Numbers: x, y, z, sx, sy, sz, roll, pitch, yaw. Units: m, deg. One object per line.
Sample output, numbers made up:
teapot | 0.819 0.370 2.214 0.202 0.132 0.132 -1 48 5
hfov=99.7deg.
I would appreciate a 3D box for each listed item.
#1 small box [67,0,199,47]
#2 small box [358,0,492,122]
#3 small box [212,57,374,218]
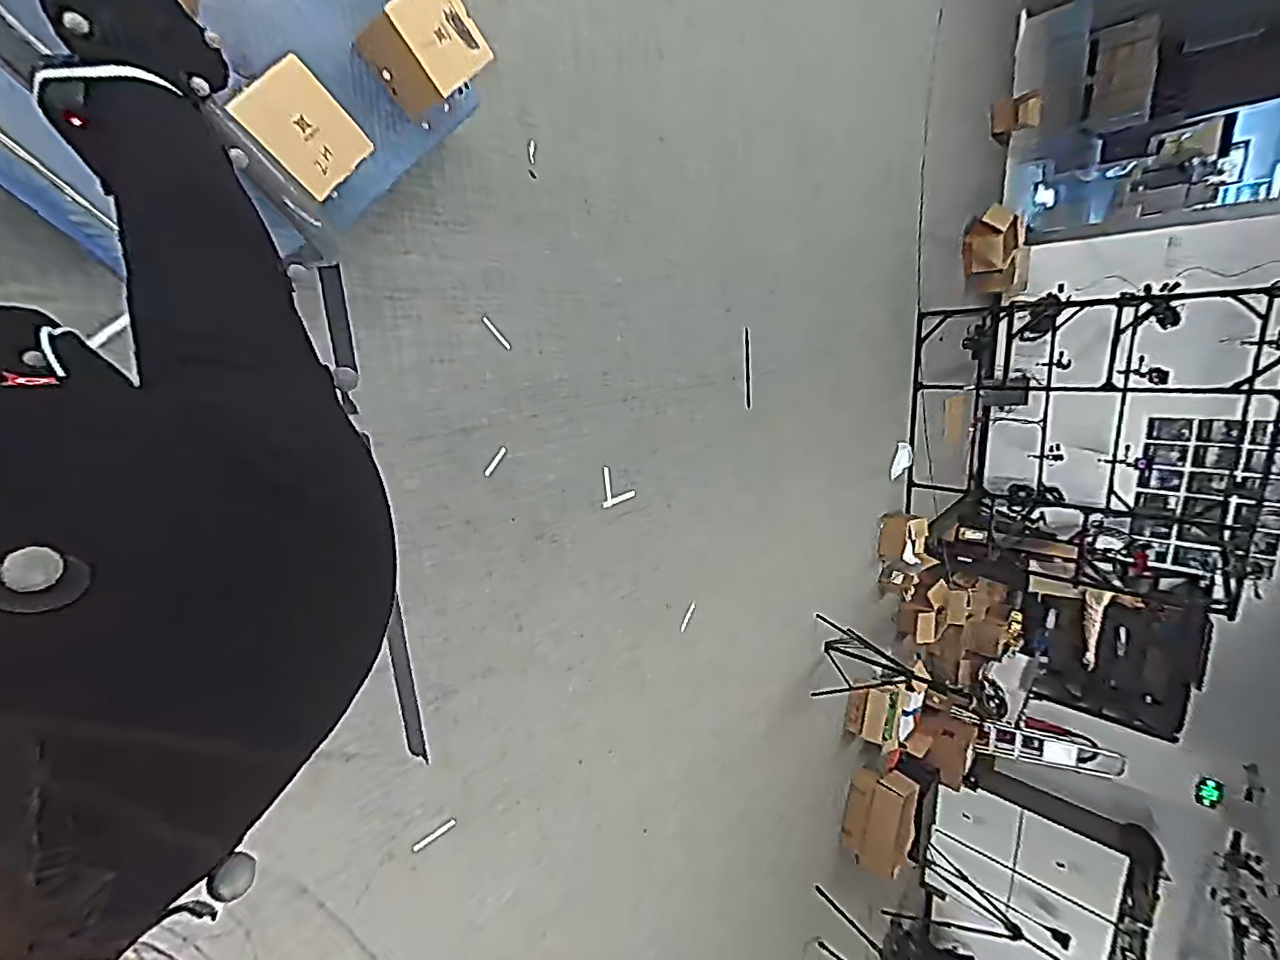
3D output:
small box | -0.804 -0.810 0.813 0.168 0.176 0.179 -56 134 -24
small box | -0.461 -0.912 1.158 0.179 0.176 0.168 -57 133 -21
small box | -0.651 -0.626 1.012 0.179 0.176 0.168 48 63 -40
